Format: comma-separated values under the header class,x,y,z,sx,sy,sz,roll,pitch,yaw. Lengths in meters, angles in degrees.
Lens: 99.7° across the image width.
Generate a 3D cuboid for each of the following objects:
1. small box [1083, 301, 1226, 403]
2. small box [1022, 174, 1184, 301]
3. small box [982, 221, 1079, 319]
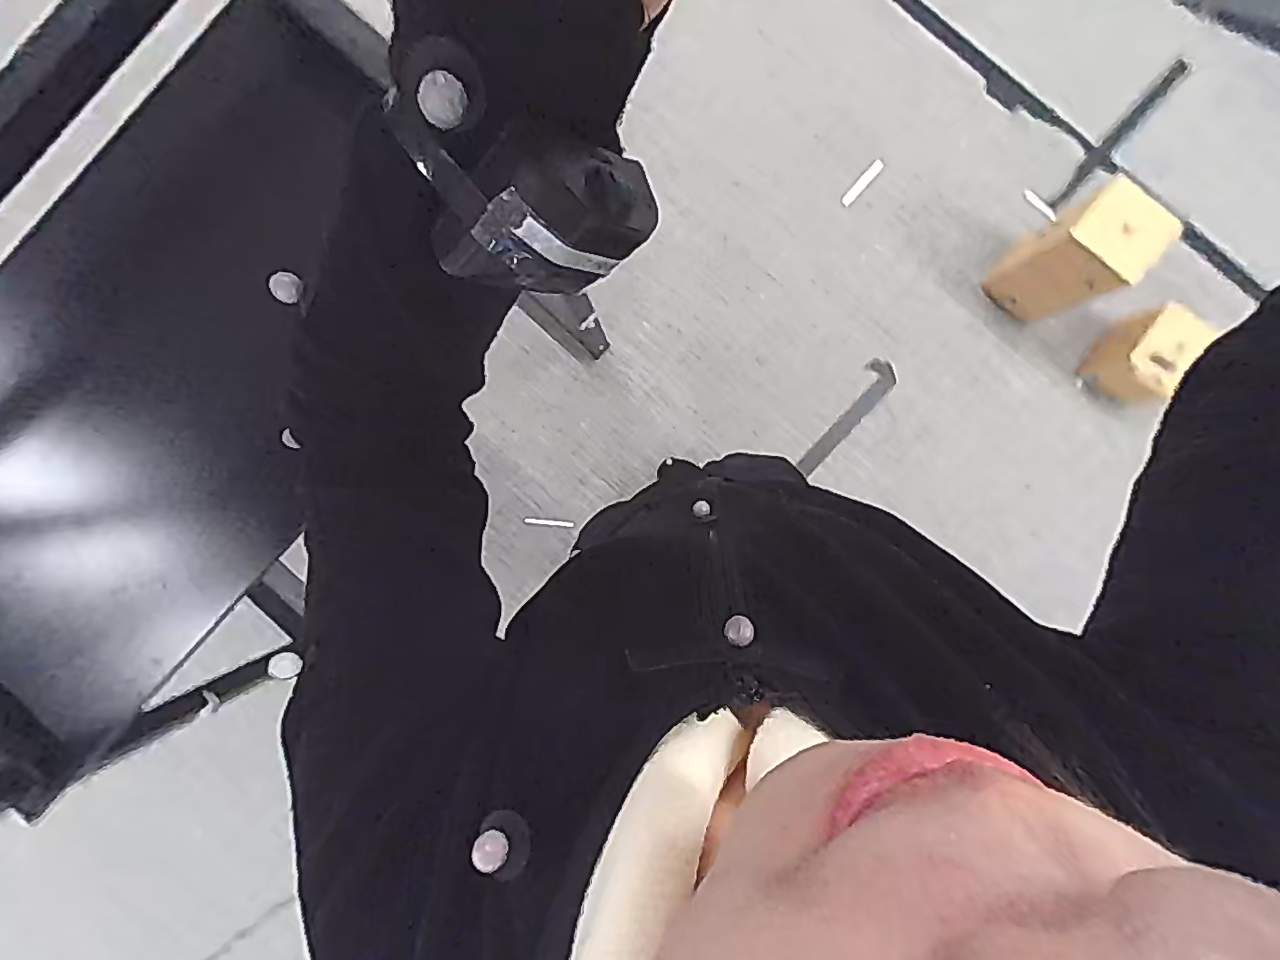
class,x,y,z,sx,sy,sz,roll,pitch,yaw
small box,1.285,-0.313,1.369,0.168,0.176,0.179,35,91,1
small box,1.021,-0.526,1.208,0.179,0.176,0.168,40,92,1
small box,1.029,-0.530,1.372,0.179,0.176,0.168,42,92,0
